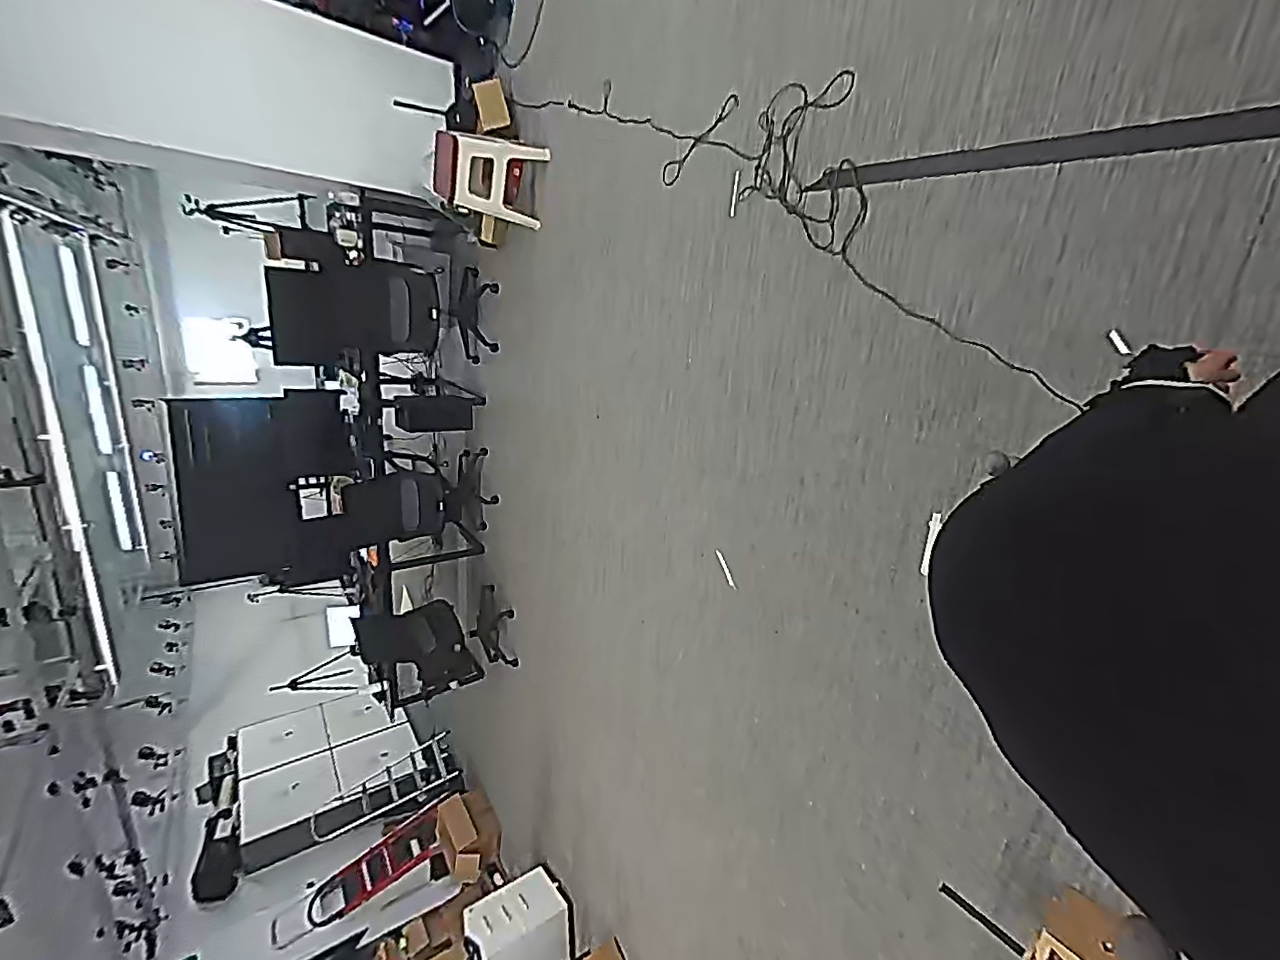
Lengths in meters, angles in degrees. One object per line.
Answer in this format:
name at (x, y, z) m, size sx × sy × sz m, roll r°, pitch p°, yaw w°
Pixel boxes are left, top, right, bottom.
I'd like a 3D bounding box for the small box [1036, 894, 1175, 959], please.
small box at (0.991, 1.042, 1.160) m, size 0.179 × 0.176 × 0.168 m, roll 26°, pitch 117°, yaw 48°
